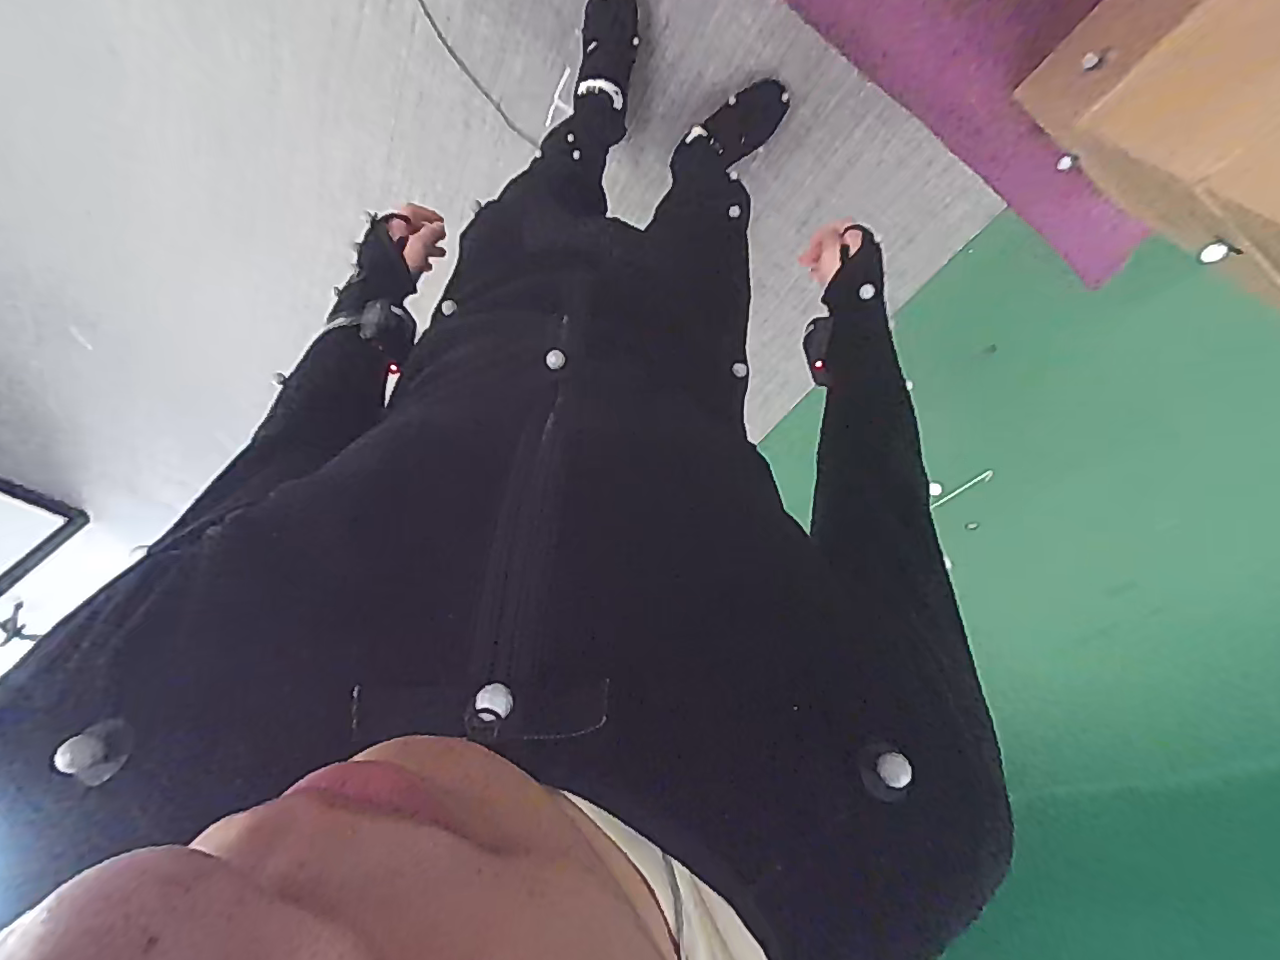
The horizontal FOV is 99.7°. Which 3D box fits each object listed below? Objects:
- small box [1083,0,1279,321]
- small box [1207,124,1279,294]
[{"bbox_3d":[0.442,-0.229,0.338,0.168,0.176,0.179,32,131,-15],"label":"small box"},{"bbox_3d":[0.414,-0.120,0.218,0.168,0.176,0.179,31,133,-15],"label":"small box"}]
